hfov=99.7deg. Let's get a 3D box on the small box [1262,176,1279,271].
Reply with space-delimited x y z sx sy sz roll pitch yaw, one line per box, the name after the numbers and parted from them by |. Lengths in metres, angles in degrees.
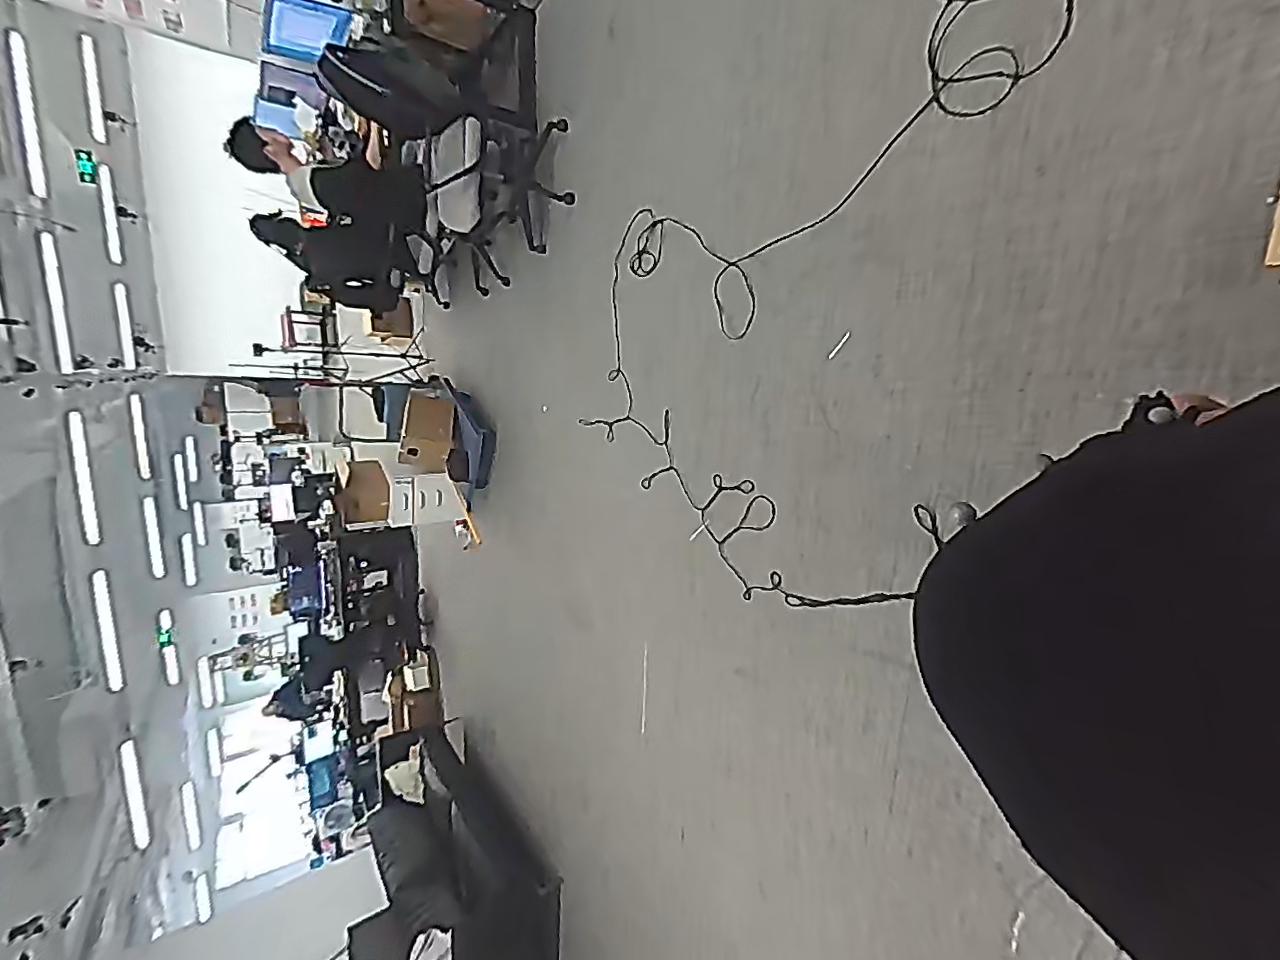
1.056 -0.407 0.781 0.179 0.176 0.168 14 107 52 | small box
